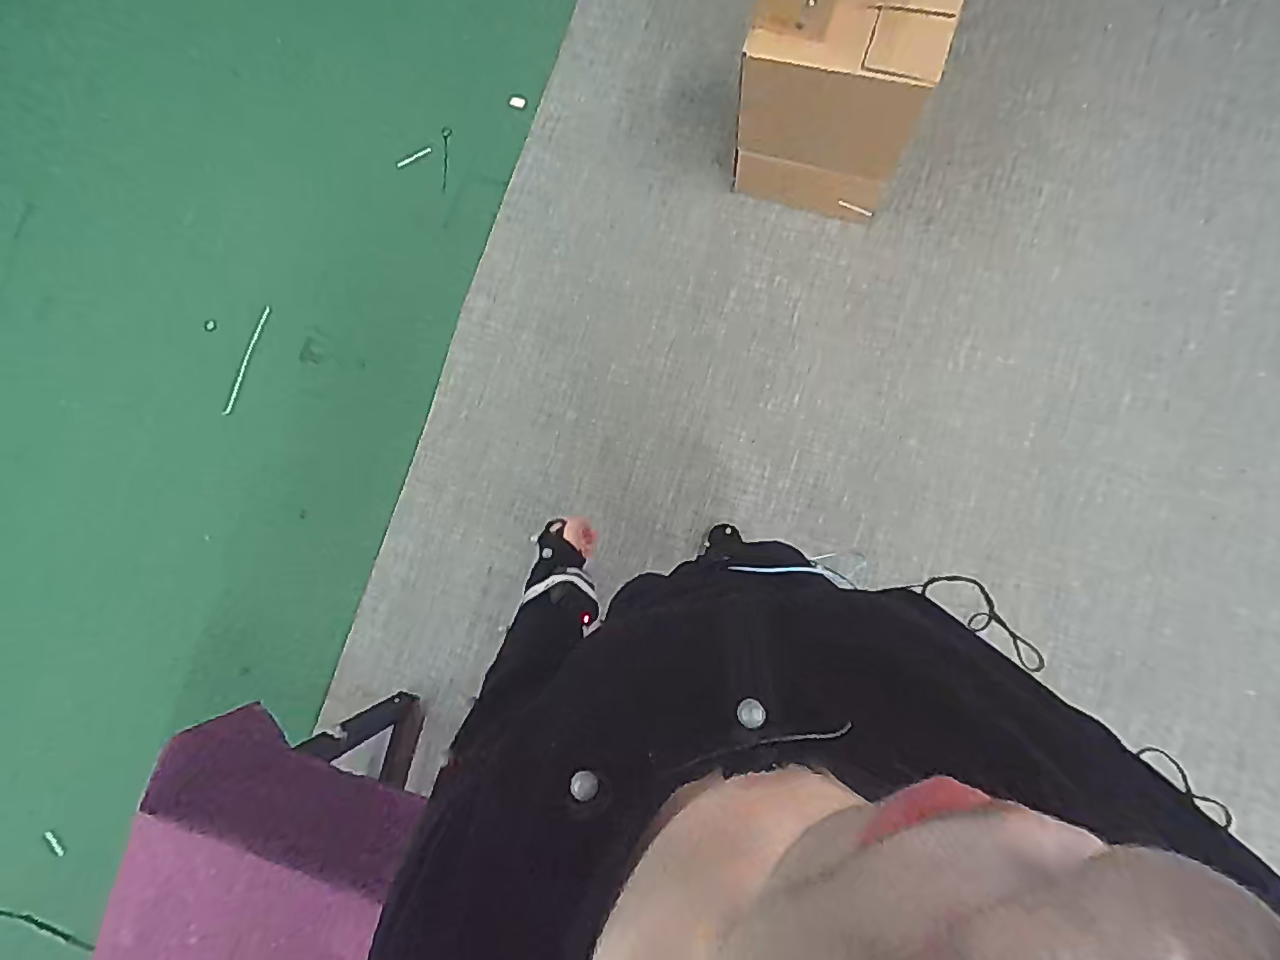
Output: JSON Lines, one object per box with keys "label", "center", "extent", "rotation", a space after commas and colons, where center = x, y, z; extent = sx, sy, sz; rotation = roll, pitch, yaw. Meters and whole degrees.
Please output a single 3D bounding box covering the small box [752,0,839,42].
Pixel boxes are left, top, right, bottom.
{"label": "small box", "center": [0.327, -1.023, 1.067], "extent": [0.168, 0.176, 0.179], "rotation": [19, 87, 7]}
